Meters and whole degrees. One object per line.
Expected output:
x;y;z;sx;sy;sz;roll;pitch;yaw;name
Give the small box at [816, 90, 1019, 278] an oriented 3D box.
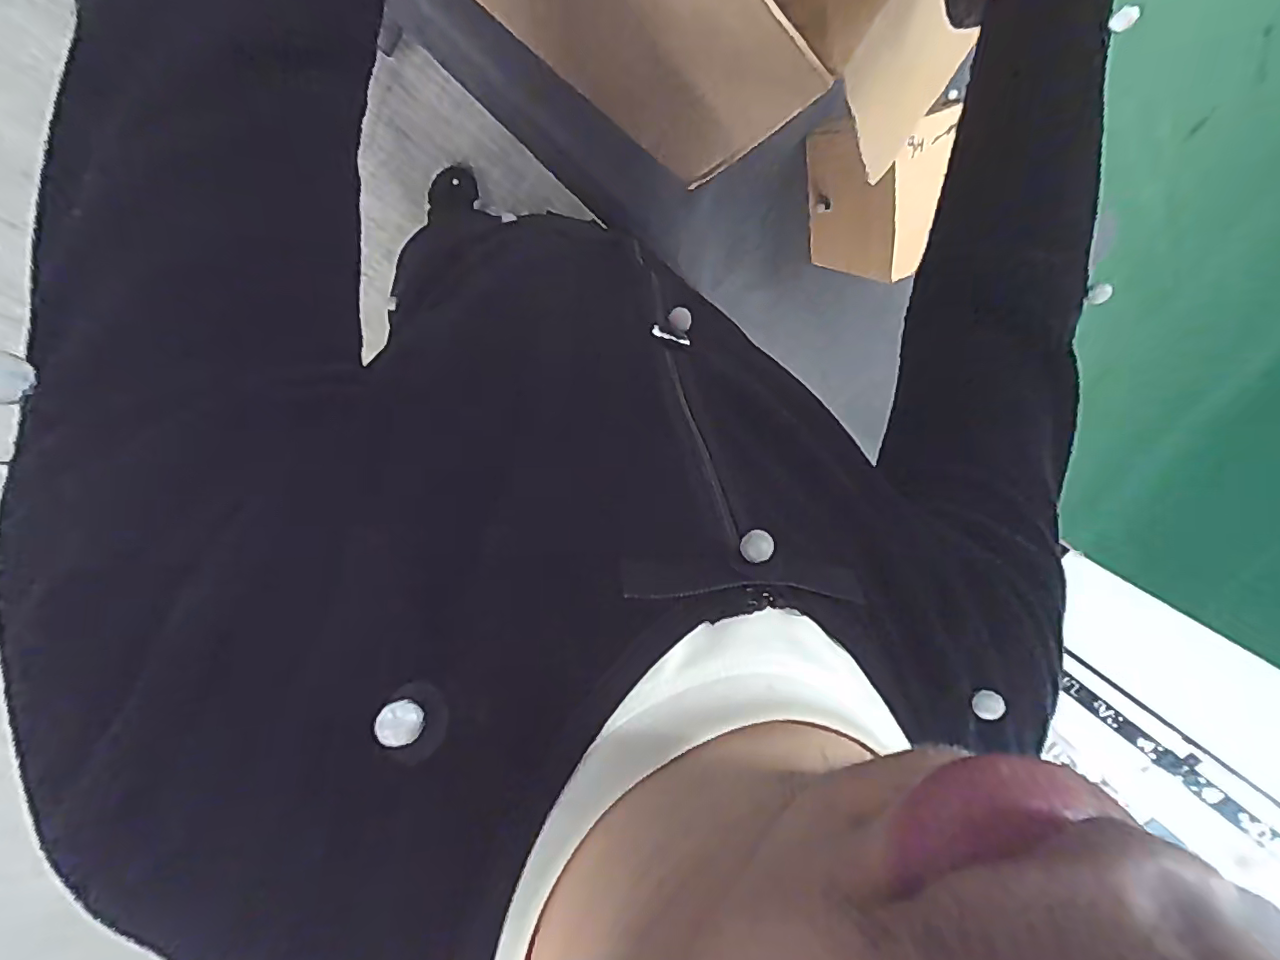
0.352;-0.396;0.722;0.168;0.176;0.179;-21;126;-8;small box
